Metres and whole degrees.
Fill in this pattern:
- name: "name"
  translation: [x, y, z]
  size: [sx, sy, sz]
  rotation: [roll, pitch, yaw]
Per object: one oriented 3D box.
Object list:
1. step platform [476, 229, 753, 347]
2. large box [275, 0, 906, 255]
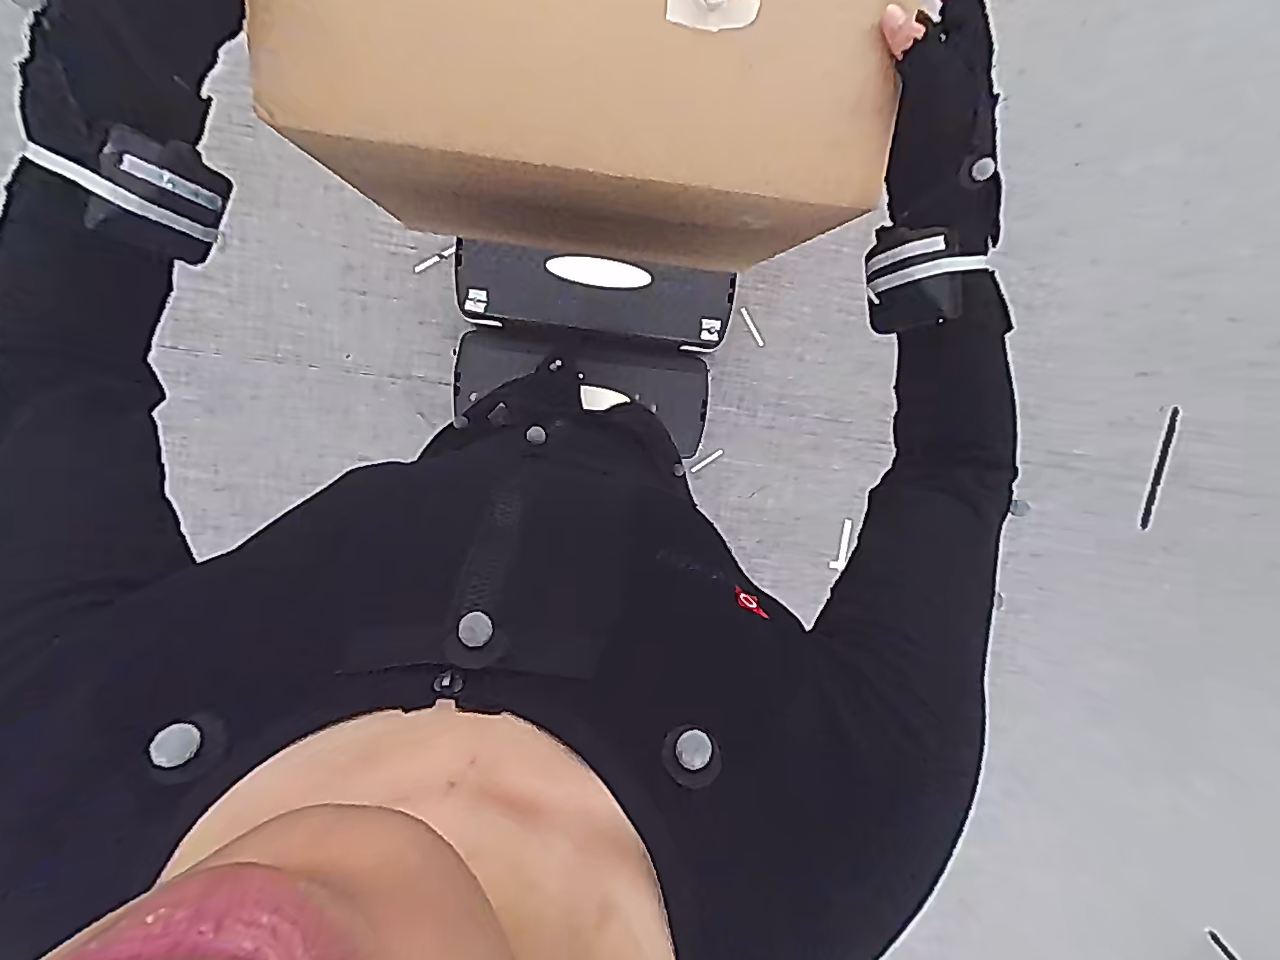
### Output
- name: "step platform"
  translation: [-0.062, -0.518, 1.373]
  size: [0.684, 0.204, 0.286]
  rotation: [5, 100, -7]
- name: "large box"
  translation: [-0.034, -0.401, 0.471]
  size: [0.408, 0.320, 0.320]
  rotation: [3, 104, -9]
